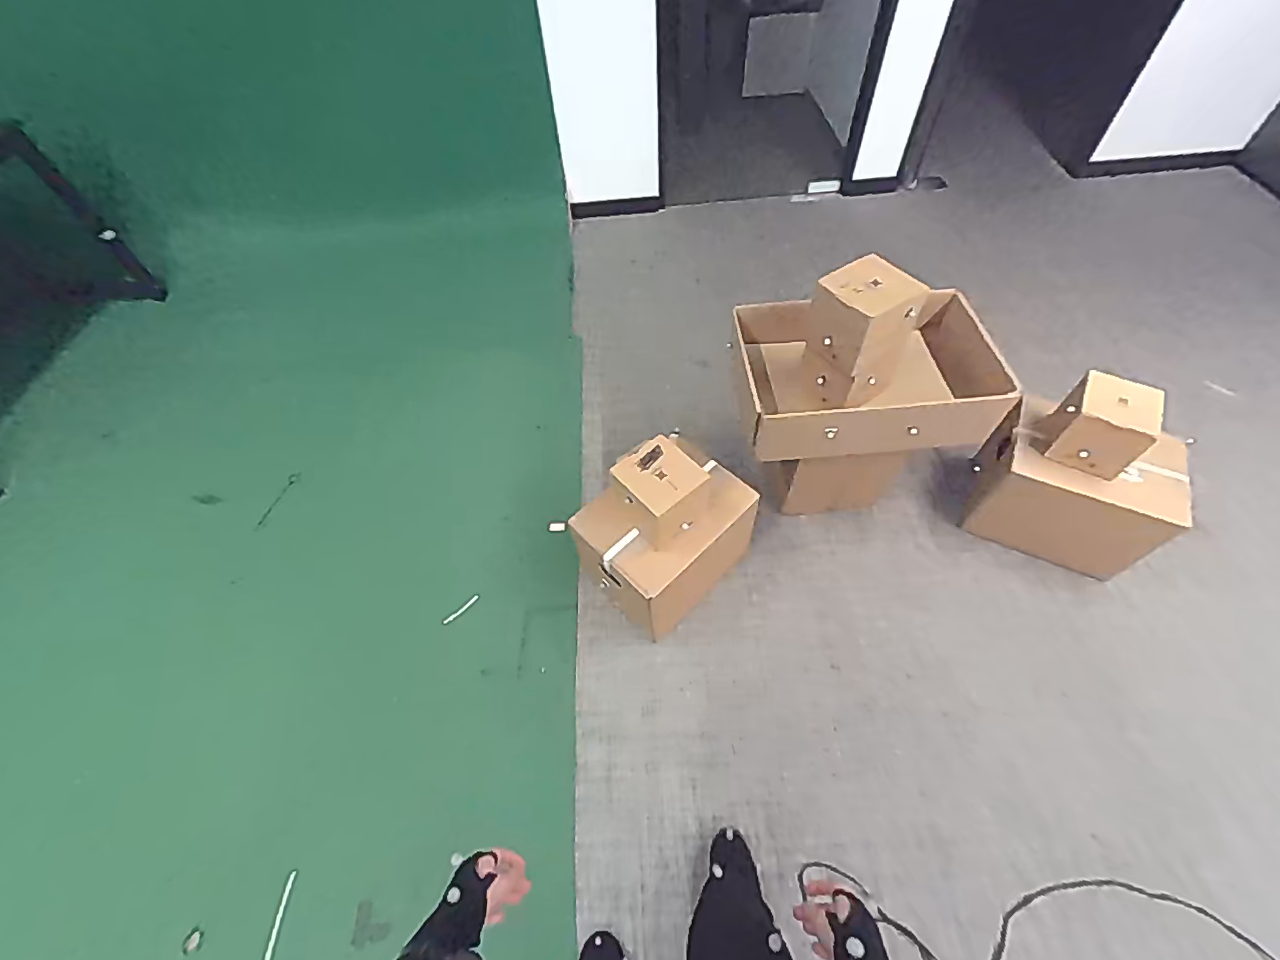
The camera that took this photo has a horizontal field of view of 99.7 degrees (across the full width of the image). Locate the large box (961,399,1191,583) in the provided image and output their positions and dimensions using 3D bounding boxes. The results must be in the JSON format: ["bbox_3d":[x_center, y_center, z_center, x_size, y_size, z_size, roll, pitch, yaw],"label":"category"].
[{"bbox_3d":[1.208,0.031,1.541,0.408,0.320,0.320,22,59,16],"label":"large box"}]

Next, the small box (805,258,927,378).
[{"bbox_3d":[0.504,-0.368,1.236,0.179,0.176,0.168,-29,57,-15],"label":"small box"}]

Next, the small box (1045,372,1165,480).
[{"bbox_3d":[1.162,-0.133,1.361,0.168,0.176,0.179,25,59,19],"label":"small box"}]

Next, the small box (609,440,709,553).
[{"bbox_3d":[0.046,0.042,1.301,0.168,0.176,0.179,-36,60,-20],"label":"small box"}]
